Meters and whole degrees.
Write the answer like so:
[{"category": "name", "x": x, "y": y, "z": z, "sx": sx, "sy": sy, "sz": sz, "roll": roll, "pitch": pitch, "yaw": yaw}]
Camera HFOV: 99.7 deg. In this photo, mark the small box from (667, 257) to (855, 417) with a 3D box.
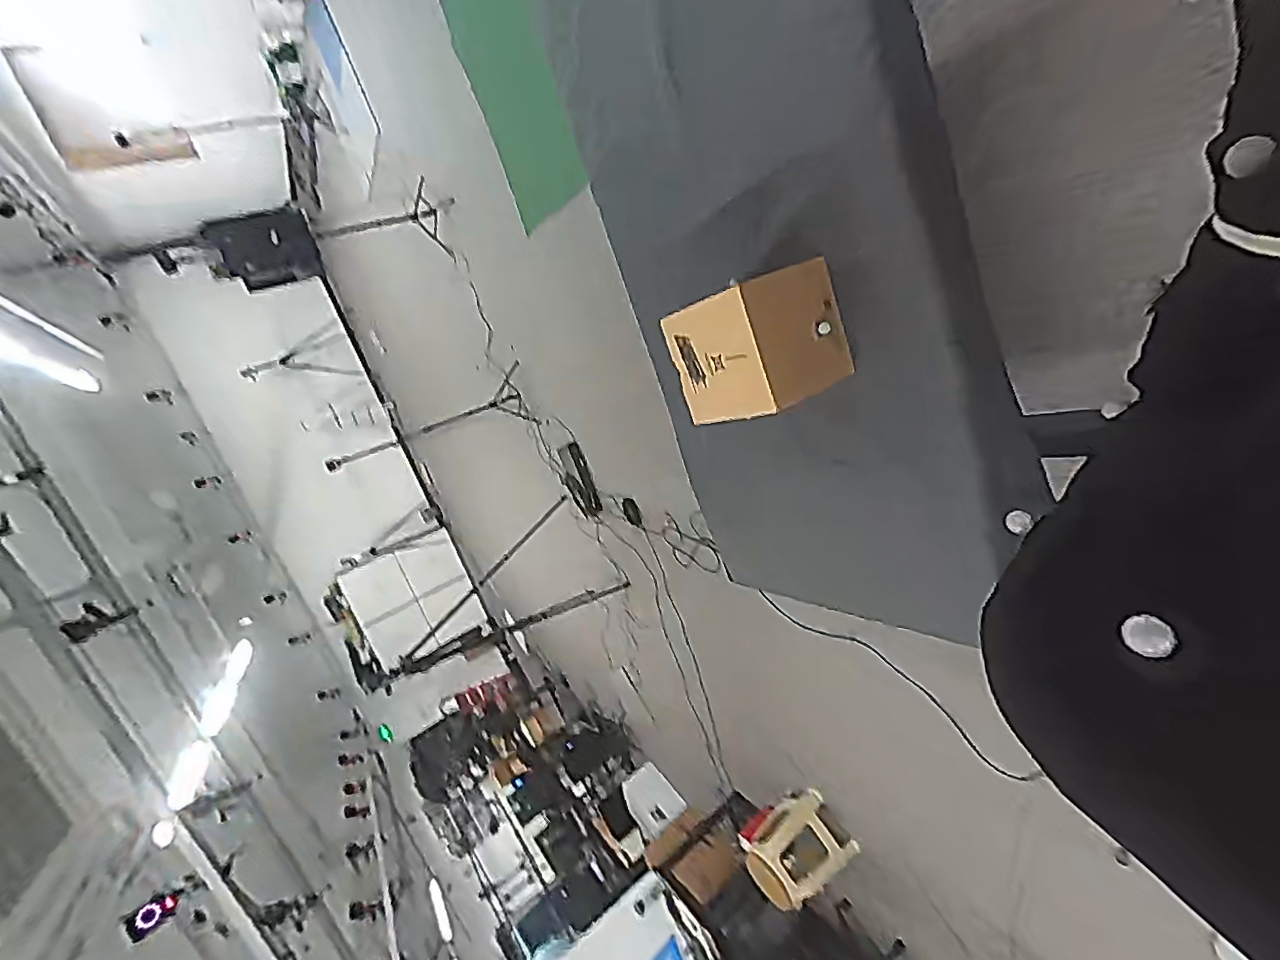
[{"category": "small box", "x": 0.173, "y": -0.200, "z": 0.780, "sx": 0.179, "sy": 0.176, "sz": 0.168, "roll": 0, "pitch": 114, "yaw": 59}]
